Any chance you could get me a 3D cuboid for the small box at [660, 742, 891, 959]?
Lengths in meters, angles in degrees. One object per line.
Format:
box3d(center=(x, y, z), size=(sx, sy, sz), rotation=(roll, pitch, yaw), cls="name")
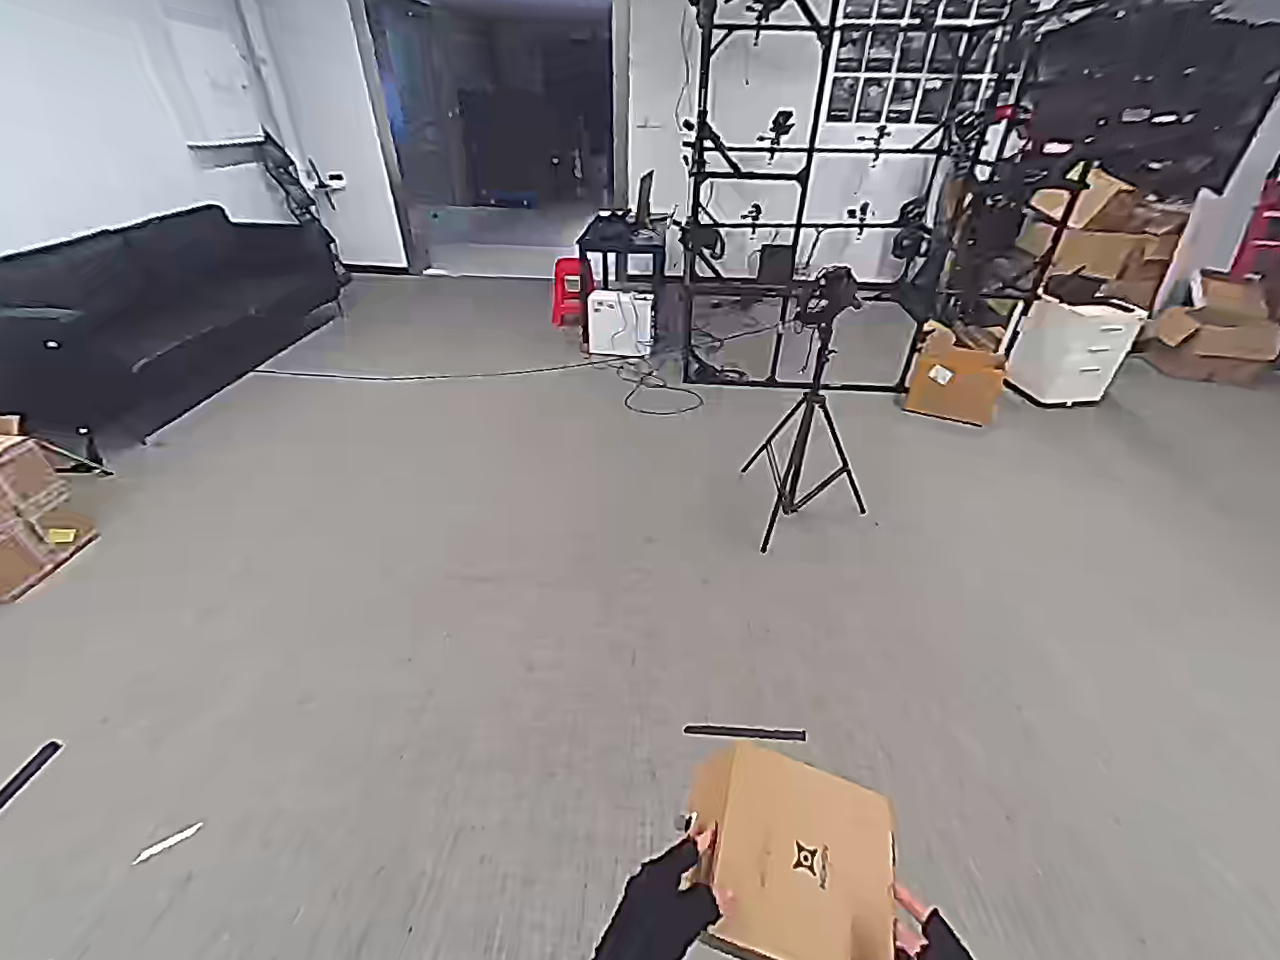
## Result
box3d(center=(0.139, 0.408, 0.574), size=(0.179, 0.176, 0.168), rotation=(20, 50, 1), cls="small box")
